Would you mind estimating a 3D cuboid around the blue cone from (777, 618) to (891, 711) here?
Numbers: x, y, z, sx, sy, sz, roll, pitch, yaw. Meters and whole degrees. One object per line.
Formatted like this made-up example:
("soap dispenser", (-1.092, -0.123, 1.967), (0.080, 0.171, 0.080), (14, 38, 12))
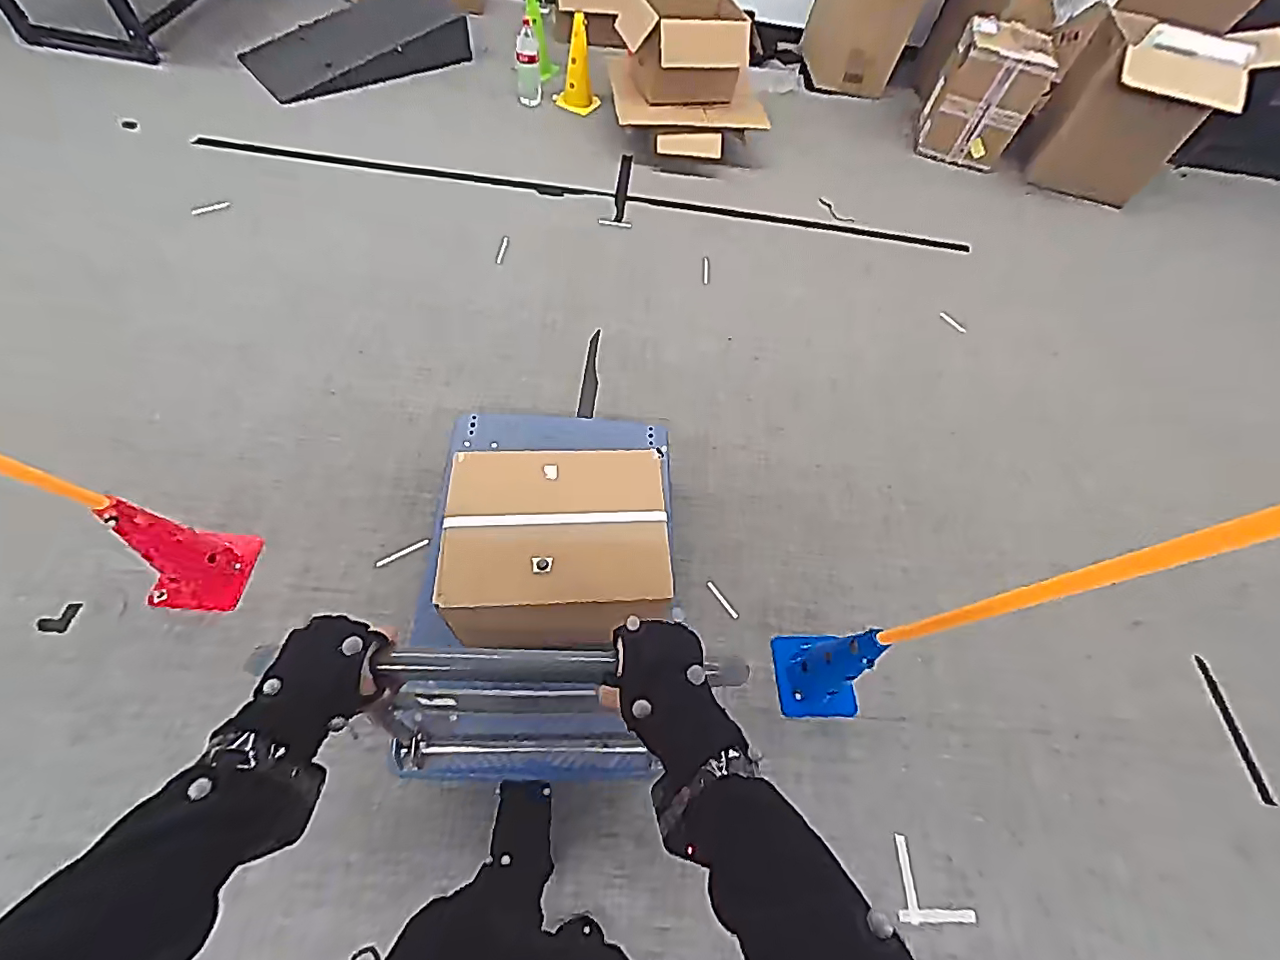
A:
("blue cone", (0.472, 0.404, 1.246), (0.193, 0.380, 0.192), (3, 58, -6))
